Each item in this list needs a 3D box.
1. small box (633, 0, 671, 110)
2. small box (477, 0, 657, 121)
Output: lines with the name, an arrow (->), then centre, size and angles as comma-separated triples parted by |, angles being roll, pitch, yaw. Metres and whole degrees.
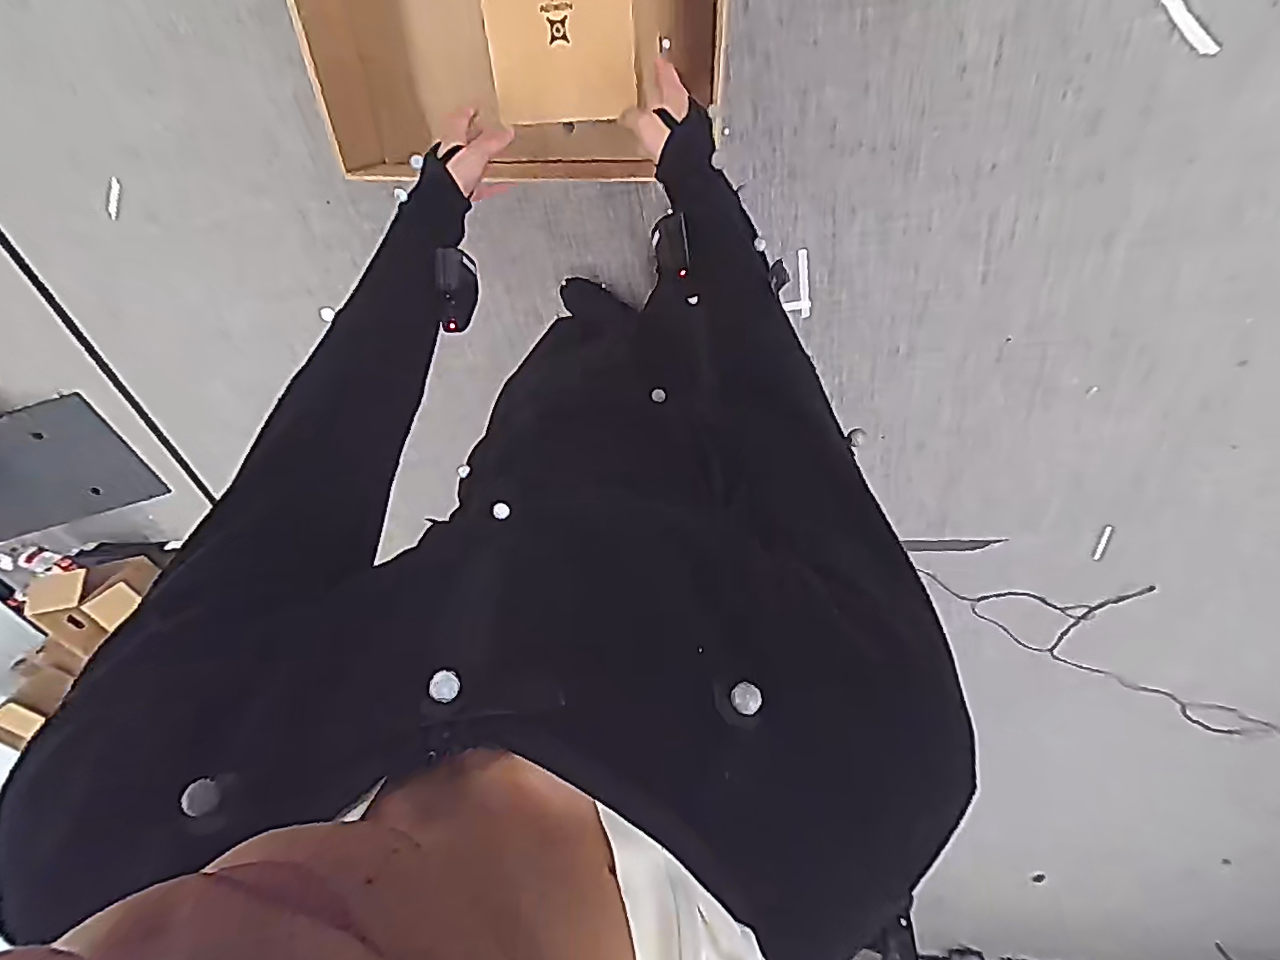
small box -> -0.048, -0.623, 0.753 | 0.168, 0.176, 0.179 | 2, 126, 10
small box -> -0.075, -0.528, 0.623 | 0.168, 0.176, 0.179 | 3, 126, 10
